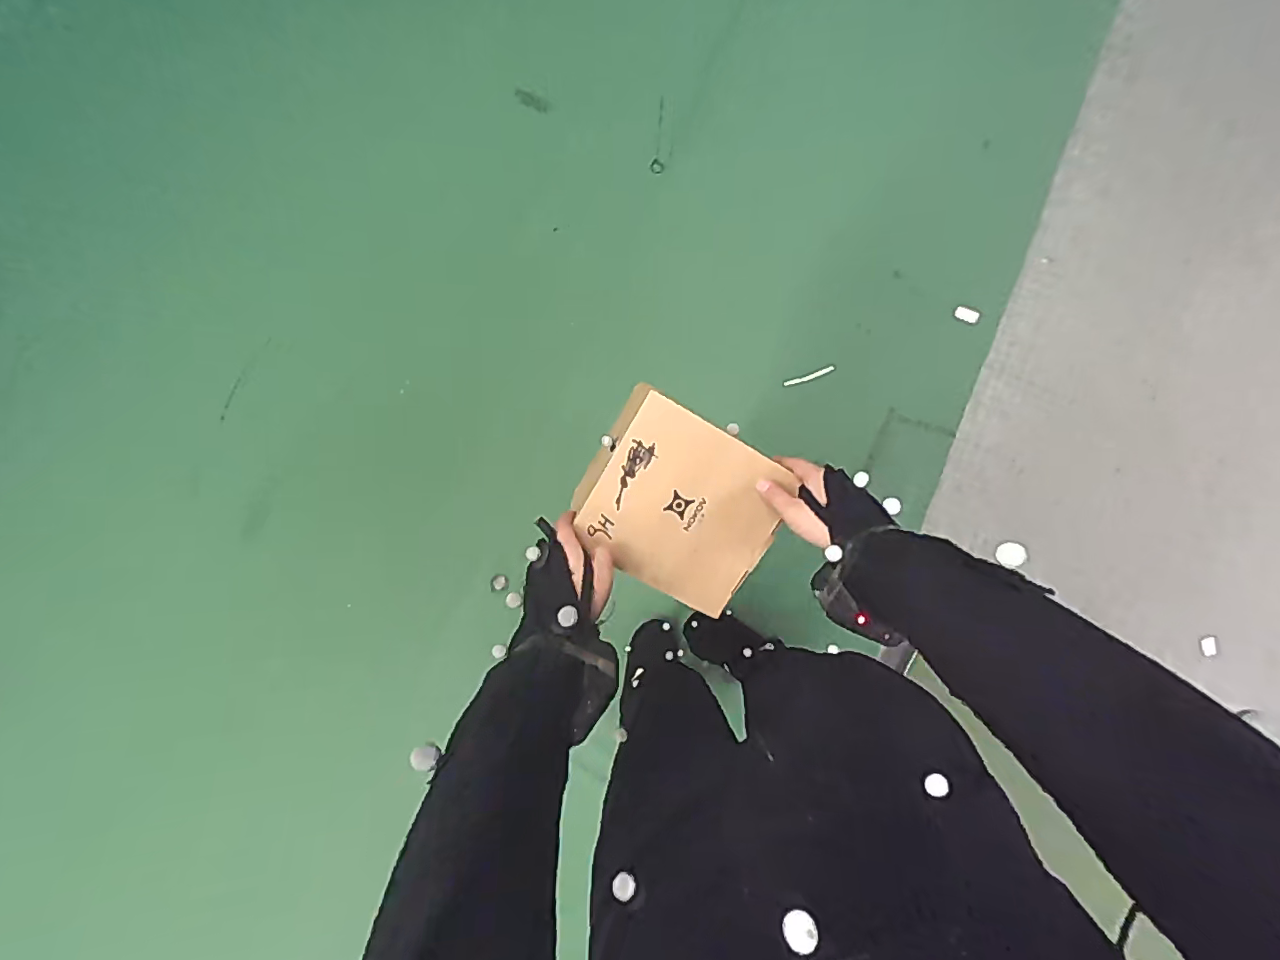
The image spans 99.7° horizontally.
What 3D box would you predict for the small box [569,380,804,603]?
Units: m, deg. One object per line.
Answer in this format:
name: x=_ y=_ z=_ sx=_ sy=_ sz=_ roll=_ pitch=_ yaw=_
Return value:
small box: x=0.041 y=-0.001 z=0.598 sx=0.179 sy=0.176 sz=0.168 roll=30 pitch=100 yaw=-10
